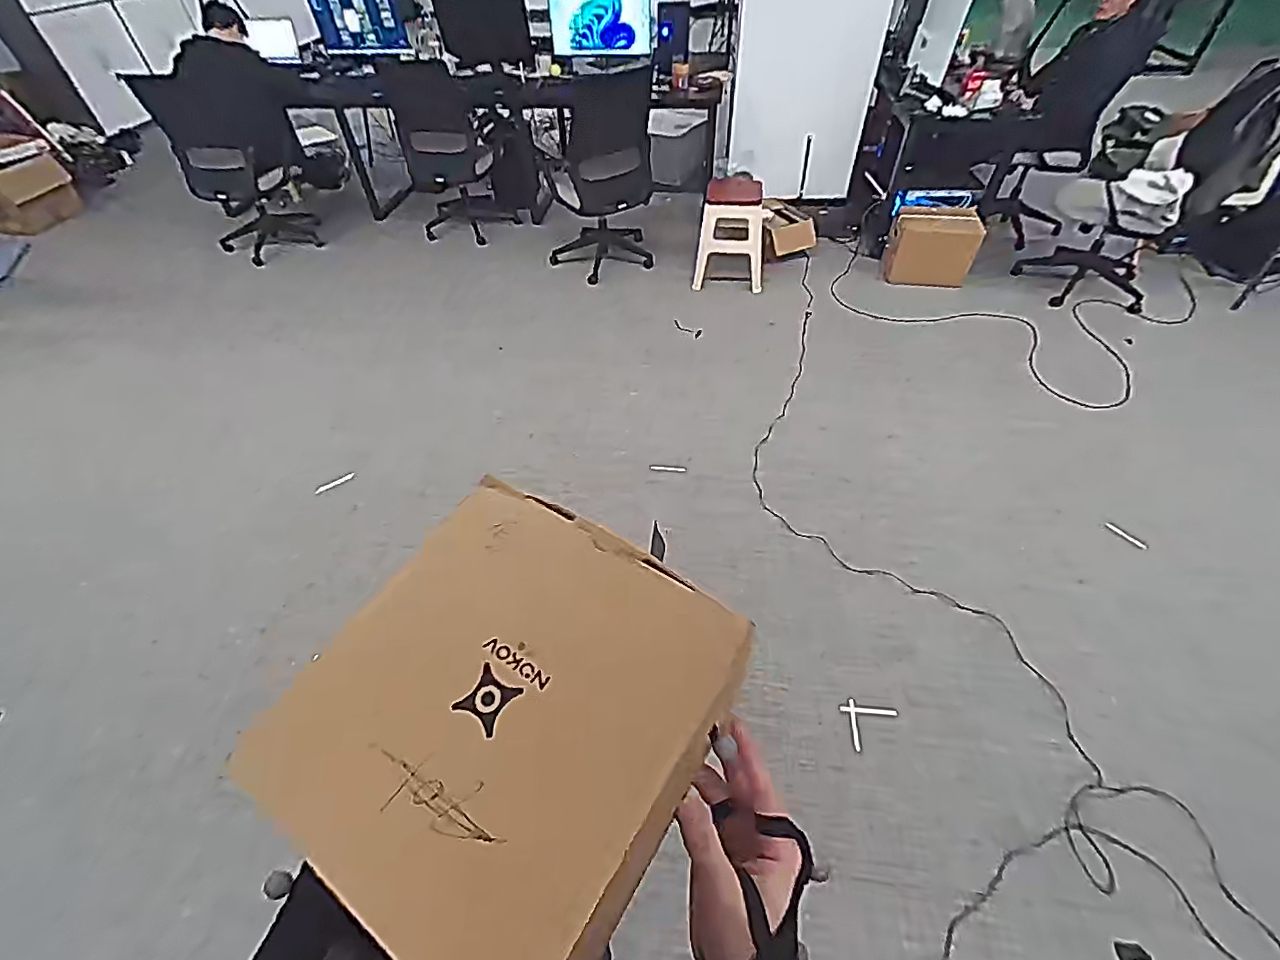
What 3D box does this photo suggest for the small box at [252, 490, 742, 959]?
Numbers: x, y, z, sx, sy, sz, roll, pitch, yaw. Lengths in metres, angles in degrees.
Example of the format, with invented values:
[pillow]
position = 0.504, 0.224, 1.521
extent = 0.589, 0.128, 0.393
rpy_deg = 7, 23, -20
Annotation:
[small box]
position = -0.056, 0.143, 0.317
extent = 0.168, 0.176, 0.179
rpy_deg = 24, 63, 21
